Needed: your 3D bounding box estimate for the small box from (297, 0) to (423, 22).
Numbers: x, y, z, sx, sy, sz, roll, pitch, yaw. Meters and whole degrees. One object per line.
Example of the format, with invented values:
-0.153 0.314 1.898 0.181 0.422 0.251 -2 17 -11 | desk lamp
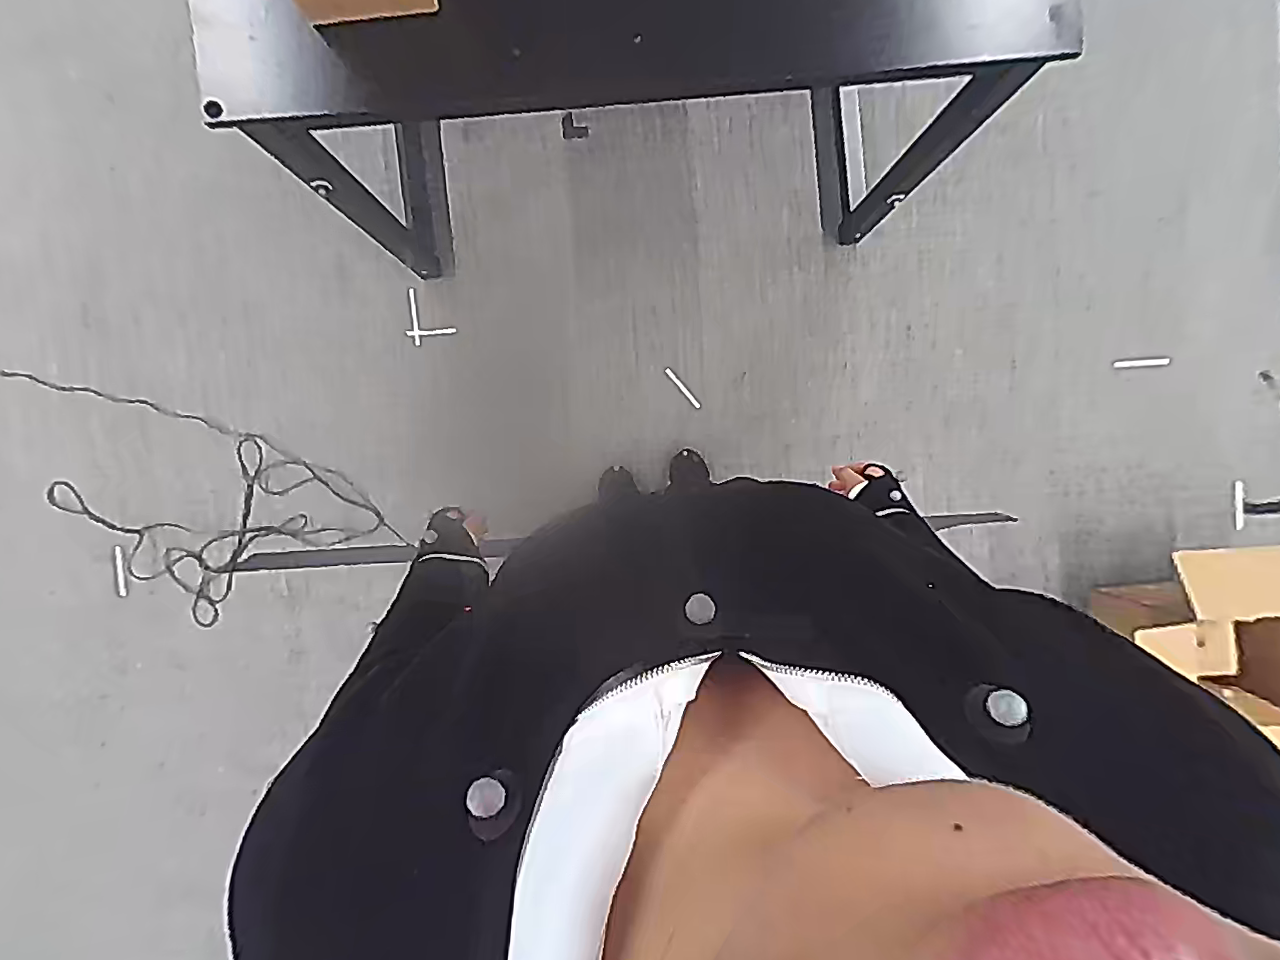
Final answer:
-0.367 -0.703 0.648 0.179 0.176 0.168 -7 92 0 | small box
